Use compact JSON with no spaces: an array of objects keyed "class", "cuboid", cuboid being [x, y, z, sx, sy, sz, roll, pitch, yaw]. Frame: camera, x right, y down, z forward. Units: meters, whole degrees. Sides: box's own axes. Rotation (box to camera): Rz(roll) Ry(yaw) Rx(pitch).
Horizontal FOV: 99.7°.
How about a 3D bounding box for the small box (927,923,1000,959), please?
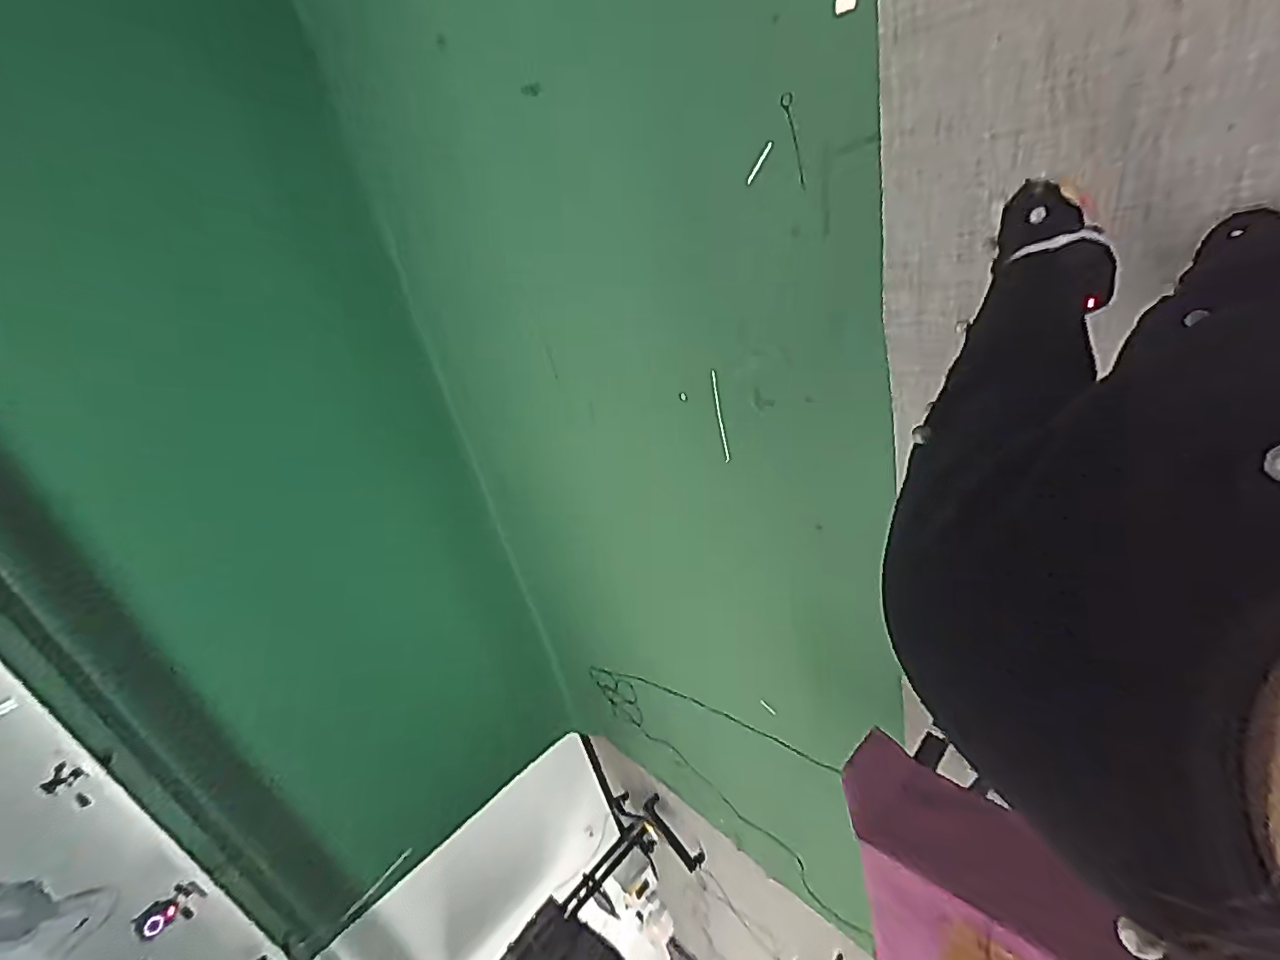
[{"class":"small box","cuboid":[0.699,1.114,1.150,0.168,0.176,0.179,16,126,44]}]
